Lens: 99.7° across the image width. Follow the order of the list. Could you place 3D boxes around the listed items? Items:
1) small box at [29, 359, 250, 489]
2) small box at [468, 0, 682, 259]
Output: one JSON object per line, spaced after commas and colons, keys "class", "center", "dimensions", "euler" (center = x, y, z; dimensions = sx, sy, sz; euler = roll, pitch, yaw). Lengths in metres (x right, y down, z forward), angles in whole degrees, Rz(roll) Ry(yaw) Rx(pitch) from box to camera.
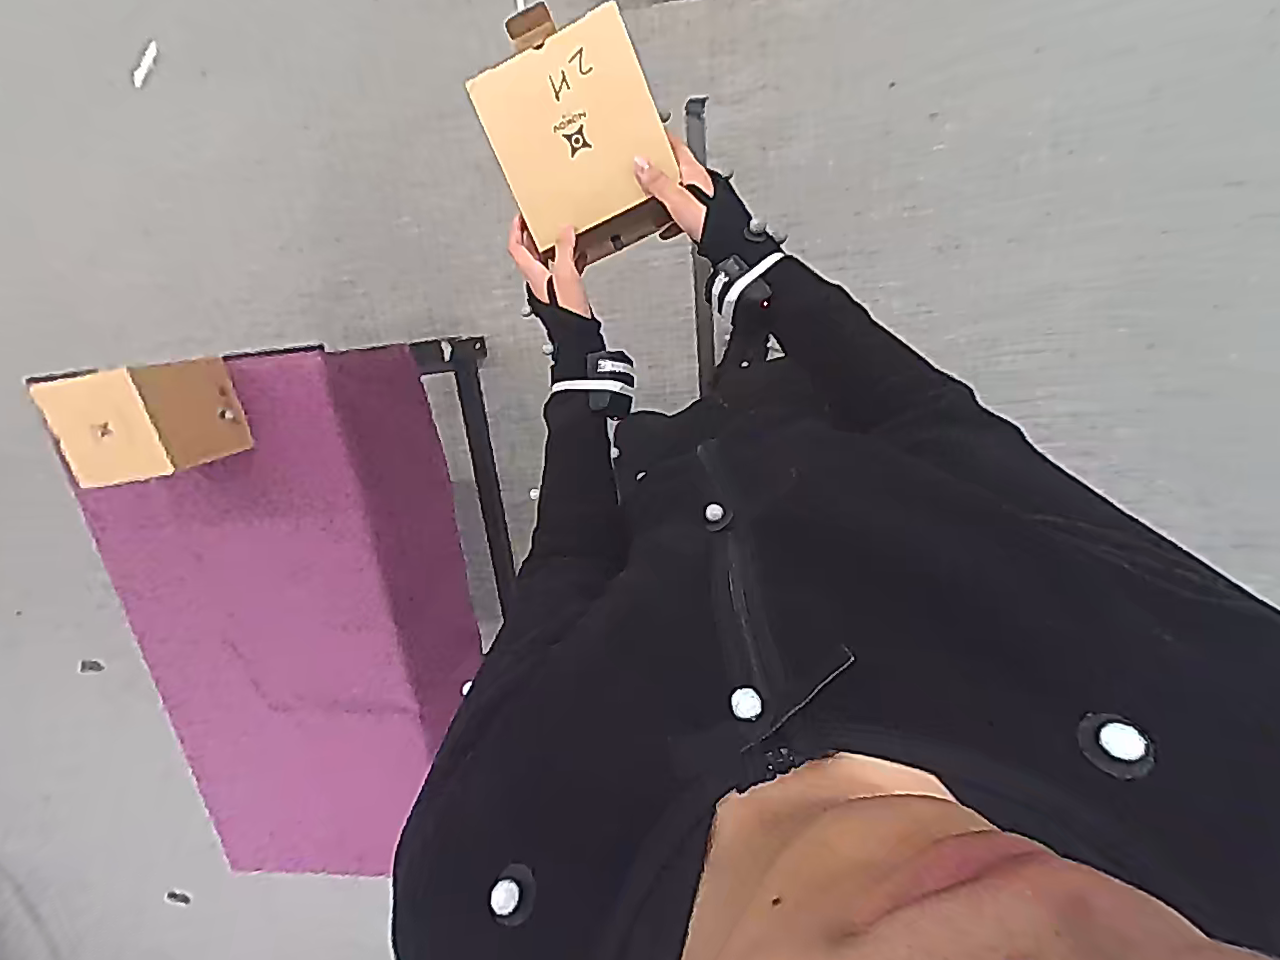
{"class": "small box", "center": [-0.801, -0.097, 0.886], "dimensions": [0.179, 0.176, 0.168], "euler": [-8, 108, 10]}
{"class": "small box", "center": [-0.056, -0.366, 0.607], "dimensions": [0.168, 0.176, 0.179], "euler": [-21, 101, 8]}
